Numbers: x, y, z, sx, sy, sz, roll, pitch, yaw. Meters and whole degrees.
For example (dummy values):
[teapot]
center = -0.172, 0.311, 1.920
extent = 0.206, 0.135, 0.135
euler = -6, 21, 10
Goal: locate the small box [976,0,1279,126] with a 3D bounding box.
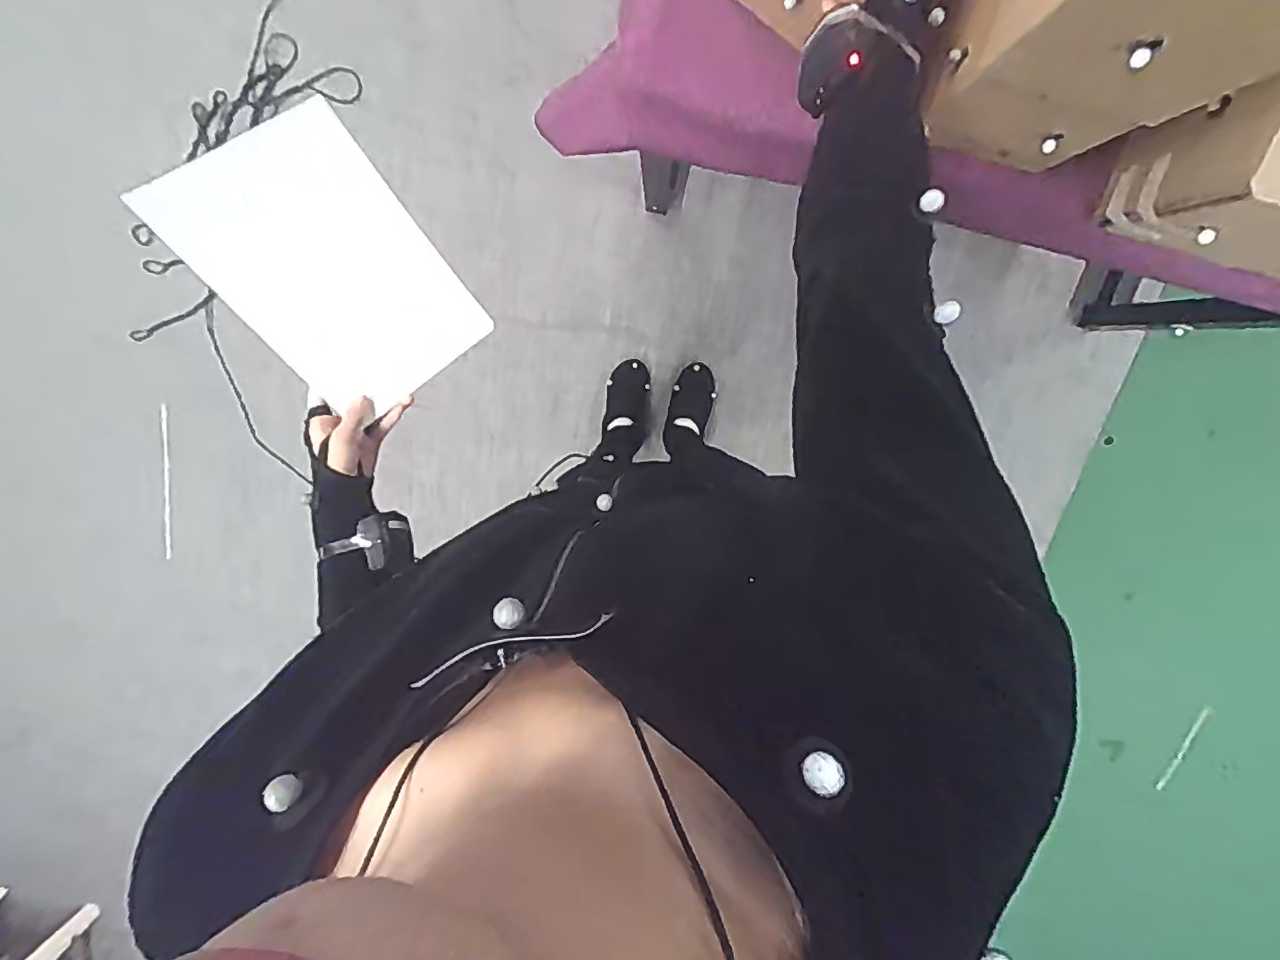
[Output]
[small box]
center = 0.404, -0.397, 0.402
extent = 0.179, 0.176, 0.168
euler = 15, 103, -2

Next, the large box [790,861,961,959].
[large box]
center = 0.704, 1.452, 1.687
extent = 0.408, 0.320, 0.320
euler = -1, 104, 1
